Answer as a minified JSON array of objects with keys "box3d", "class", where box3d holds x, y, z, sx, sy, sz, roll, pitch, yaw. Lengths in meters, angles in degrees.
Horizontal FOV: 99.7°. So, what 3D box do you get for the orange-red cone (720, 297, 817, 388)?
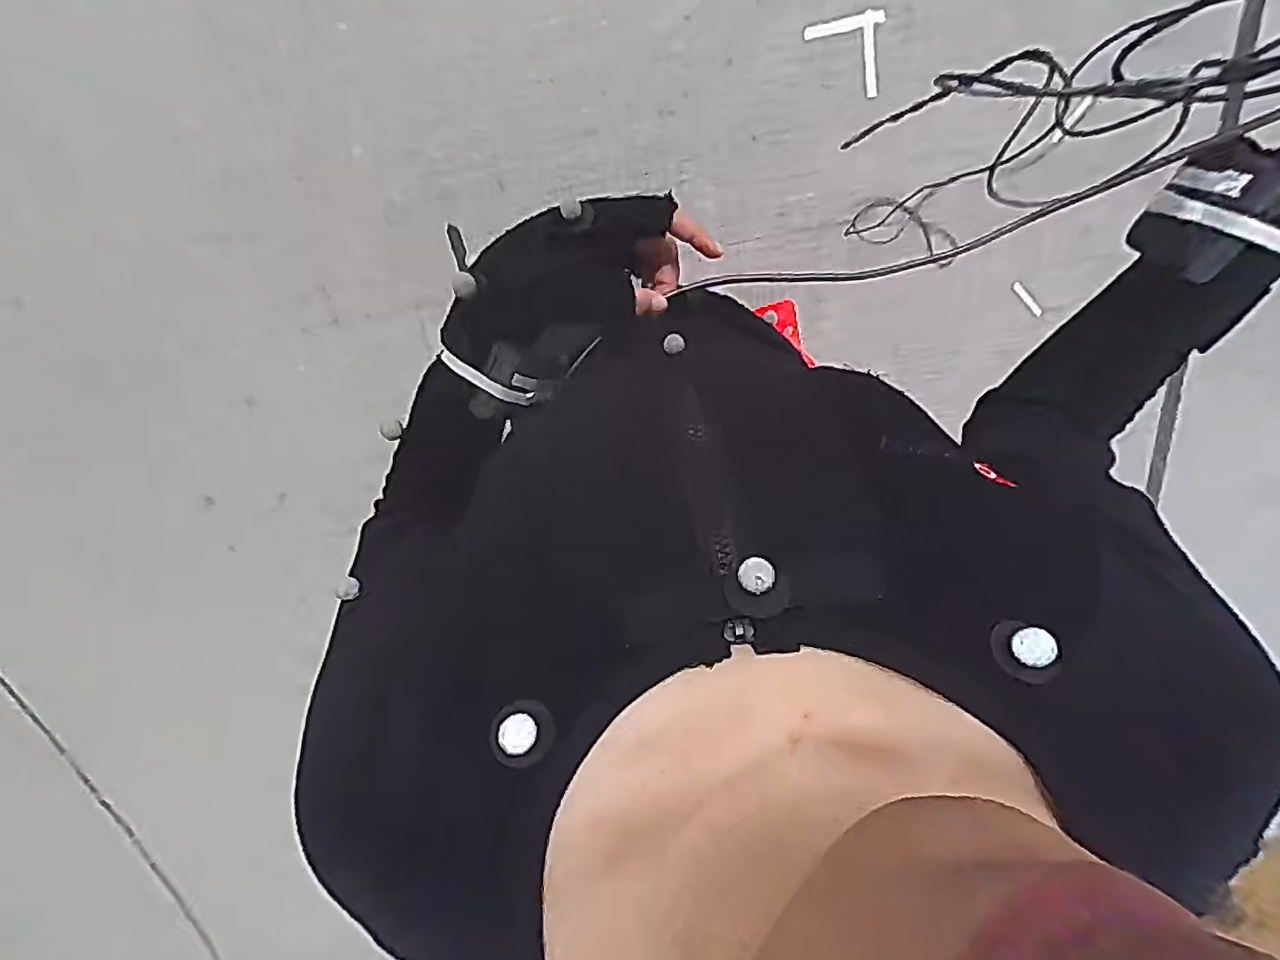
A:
[{"box3d":[0.322,-0.281,1.221,0.198,0.360,0.199,-15,114,3],"class":"orange-red cone"}]
